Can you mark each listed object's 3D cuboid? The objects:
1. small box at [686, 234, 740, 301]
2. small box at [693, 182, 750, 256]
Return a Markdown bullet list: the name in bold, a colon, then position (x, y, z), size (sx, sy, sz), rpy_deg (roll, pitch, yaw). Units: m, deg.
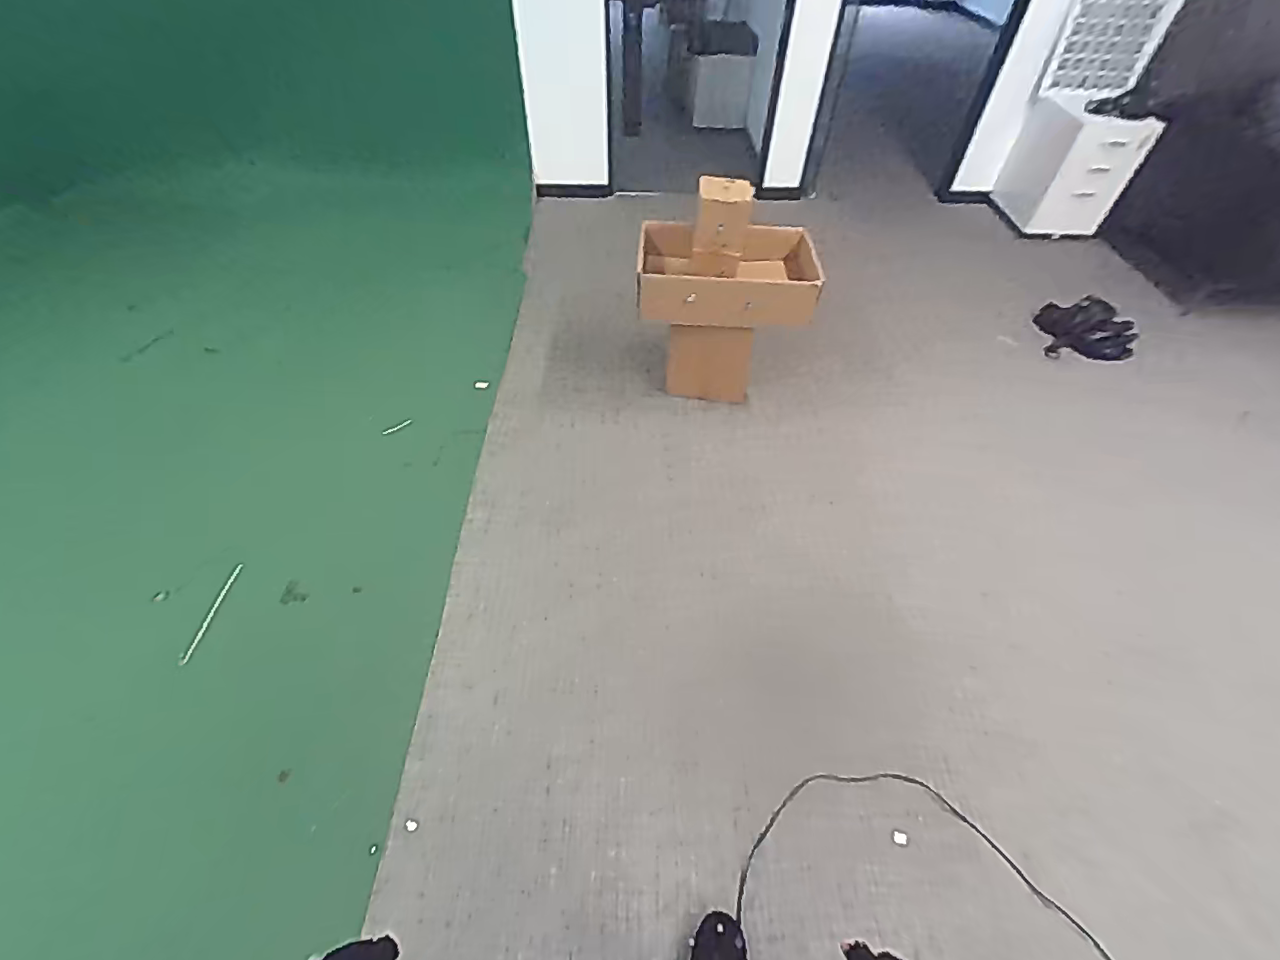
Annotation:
- **small box**: position (0.261, -0.766, 1.948), size (0.168, 0.176, 0.179), rpy_deg (6, 47, 0)
- **small box**: position (0.273, -0.882, 1.832), size (0.168, 0.176, 0.179), rpy_deg (6, 50, 0)
